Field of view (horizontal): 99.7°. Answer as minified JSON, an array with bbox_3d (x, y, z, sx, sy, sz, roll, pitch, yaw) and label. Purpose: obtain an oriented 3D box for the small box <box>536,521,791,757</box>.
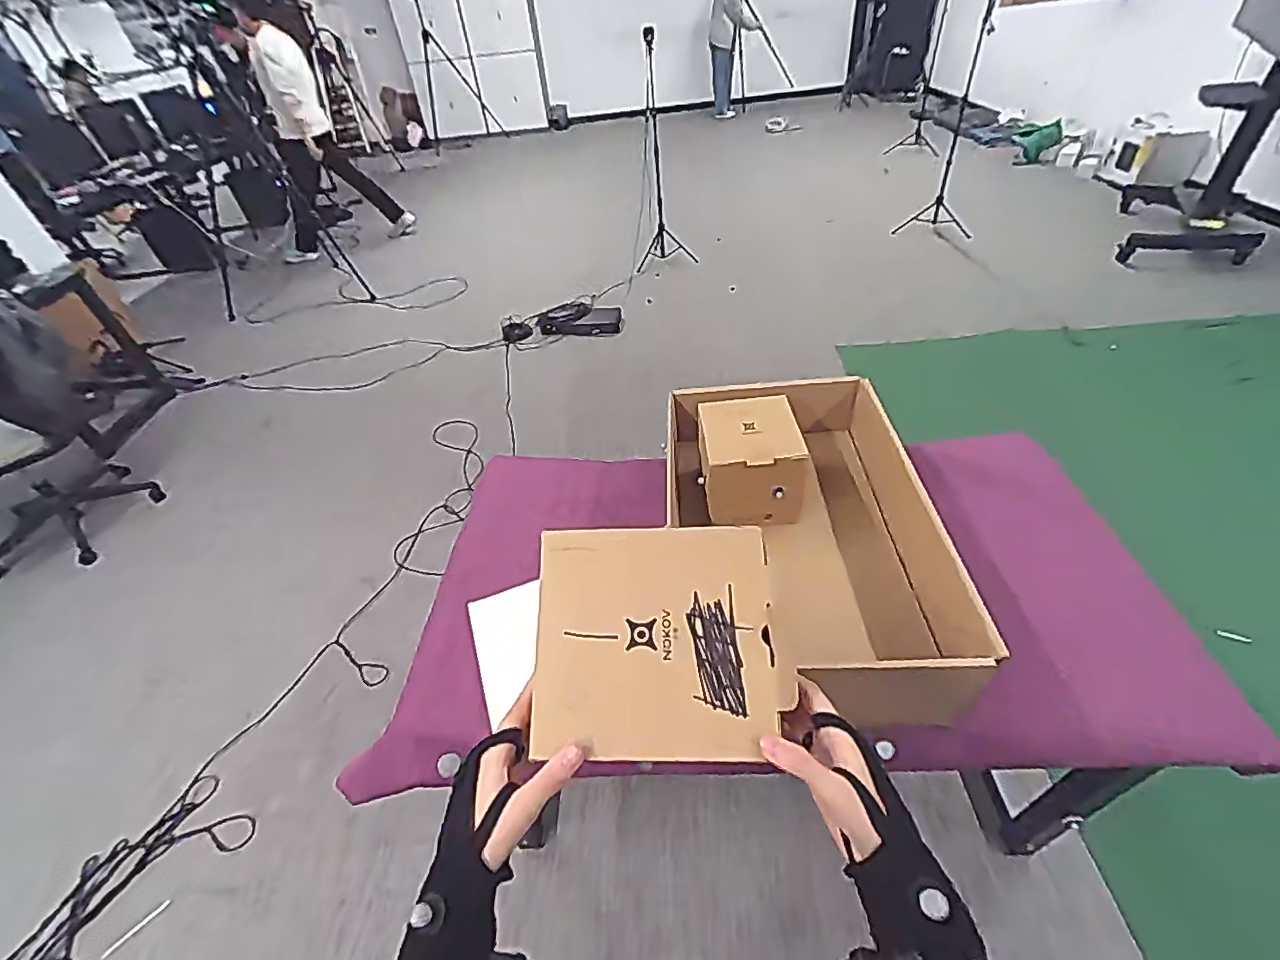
[{"bbox_3d":[0.020,0.136,0.467,0.179,0.176,0.168,-1,69,4],"label":"small box"}]
